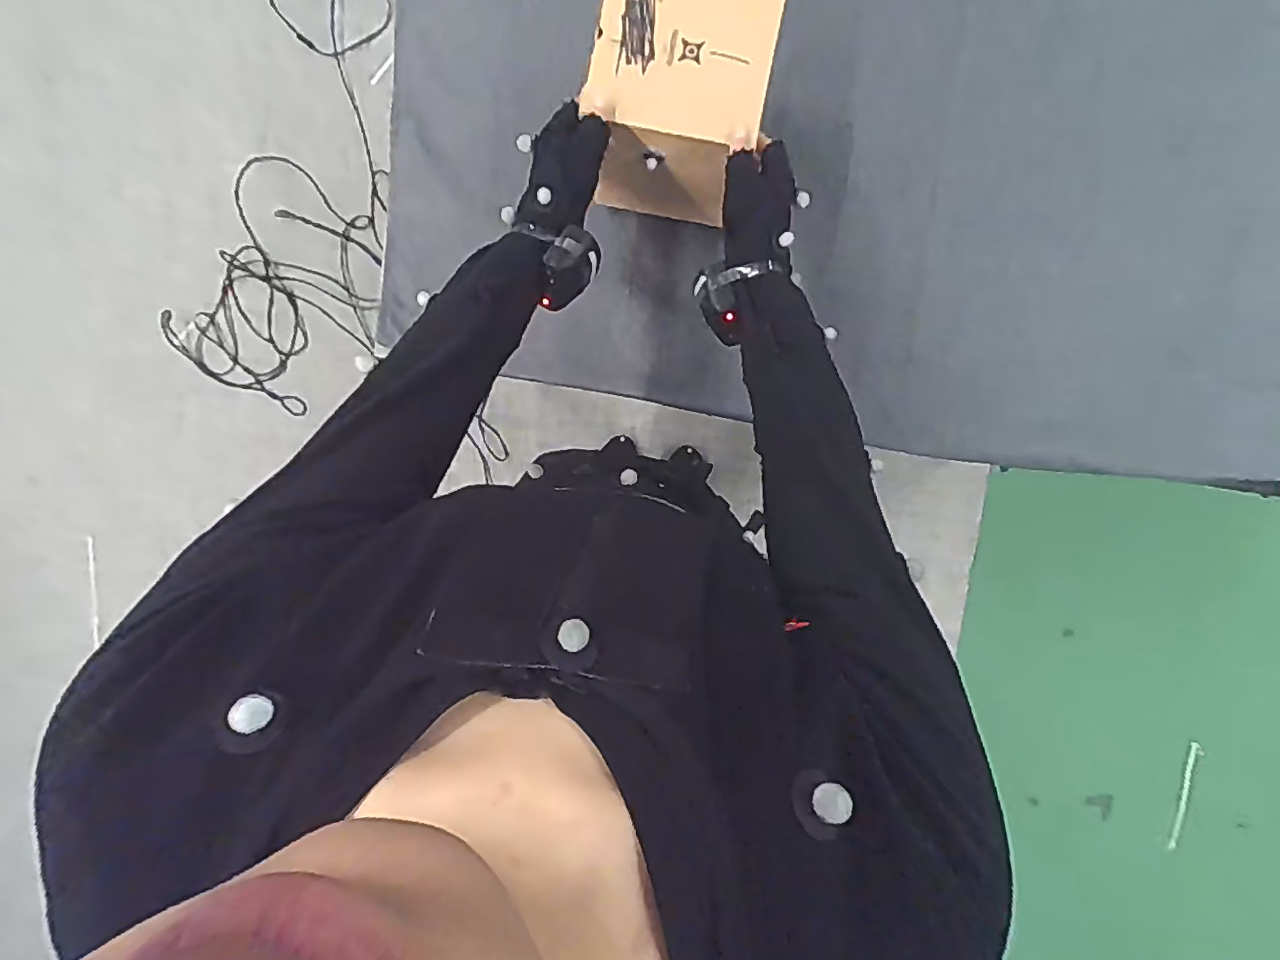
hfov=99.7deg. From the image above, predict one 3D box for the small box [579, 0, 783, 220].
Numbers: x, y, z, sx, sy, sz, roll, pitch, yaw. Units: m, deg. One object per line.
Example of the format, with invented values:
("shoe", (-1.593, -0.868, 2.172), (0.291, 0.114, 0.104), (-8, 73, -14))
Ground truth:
("small box", (0.041, -0.418, 0.603), (0.179, 0.176, 0.168), (11, 89, 0))
